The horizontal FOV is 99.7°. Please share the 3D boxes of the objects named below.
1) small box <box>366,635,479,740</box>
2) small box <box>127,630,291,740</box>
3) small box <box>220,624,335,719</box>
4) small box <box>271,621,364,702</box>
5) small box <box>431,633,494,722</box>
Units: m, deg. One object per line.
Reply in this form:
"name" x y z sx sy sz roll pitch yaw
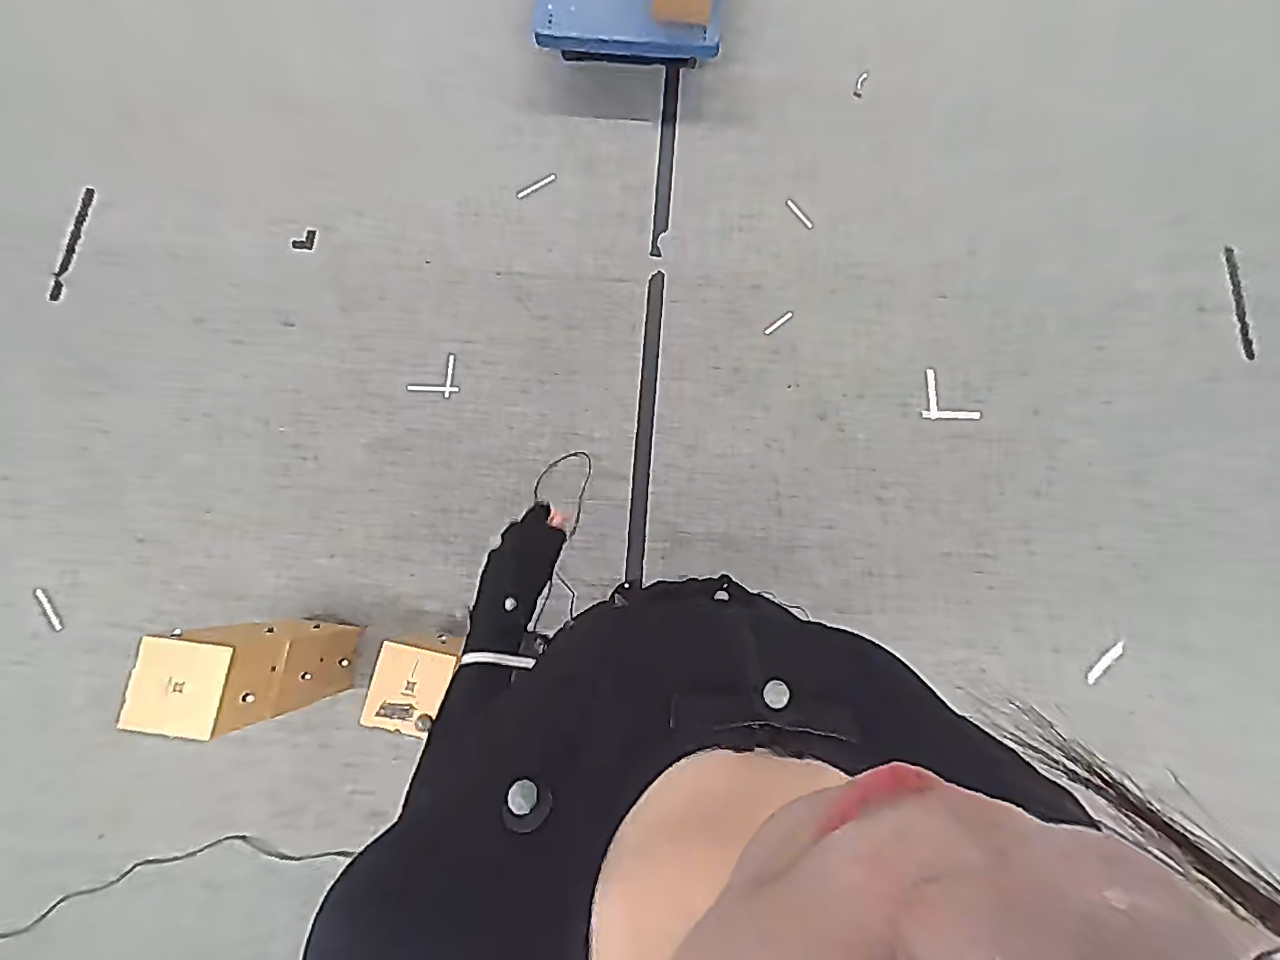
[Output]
"small box" -0.485 0.463 1.233 0.168 0.176 0.179 12 78 2
"small box" -0.842 0.398 1.077 0.179 0.176 0.168 6 80 2
"small box" -0.839 0.428 1.237 0.179 0.176 0.168 9 79 2
"small box" -0.850 0.461 1.399 0.179 0.176 0.168 7 79 1
"small box" -0.489 0.499 1.394 0.168 0.176 0.179 10 79 2
